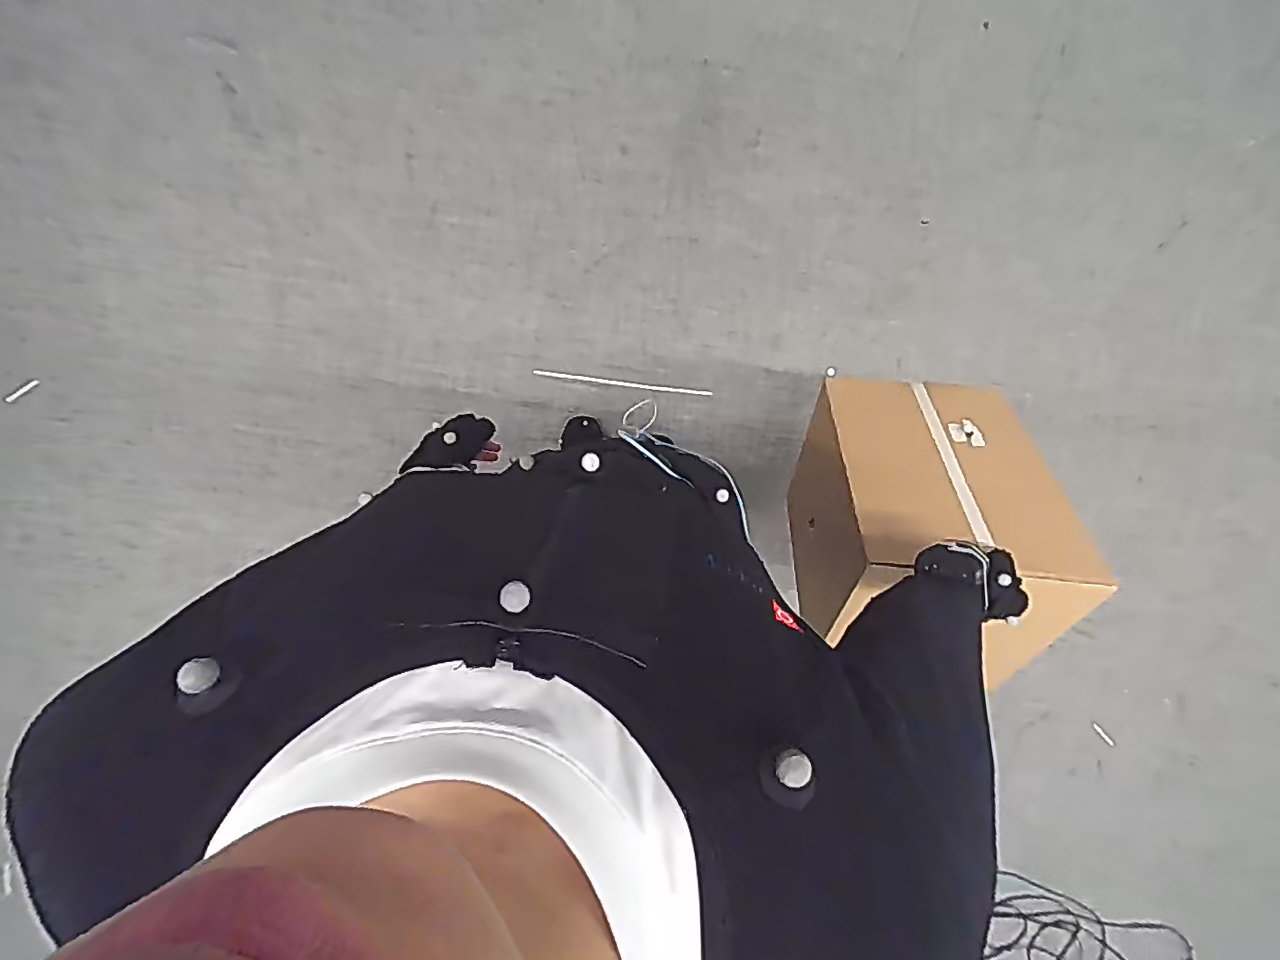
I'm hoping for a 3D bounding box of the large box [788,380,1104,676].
[{"bbox_3d":[0.457,0.078,0.937,0.320,0.408,0.320,6,136,2],"label":"large box"}]
